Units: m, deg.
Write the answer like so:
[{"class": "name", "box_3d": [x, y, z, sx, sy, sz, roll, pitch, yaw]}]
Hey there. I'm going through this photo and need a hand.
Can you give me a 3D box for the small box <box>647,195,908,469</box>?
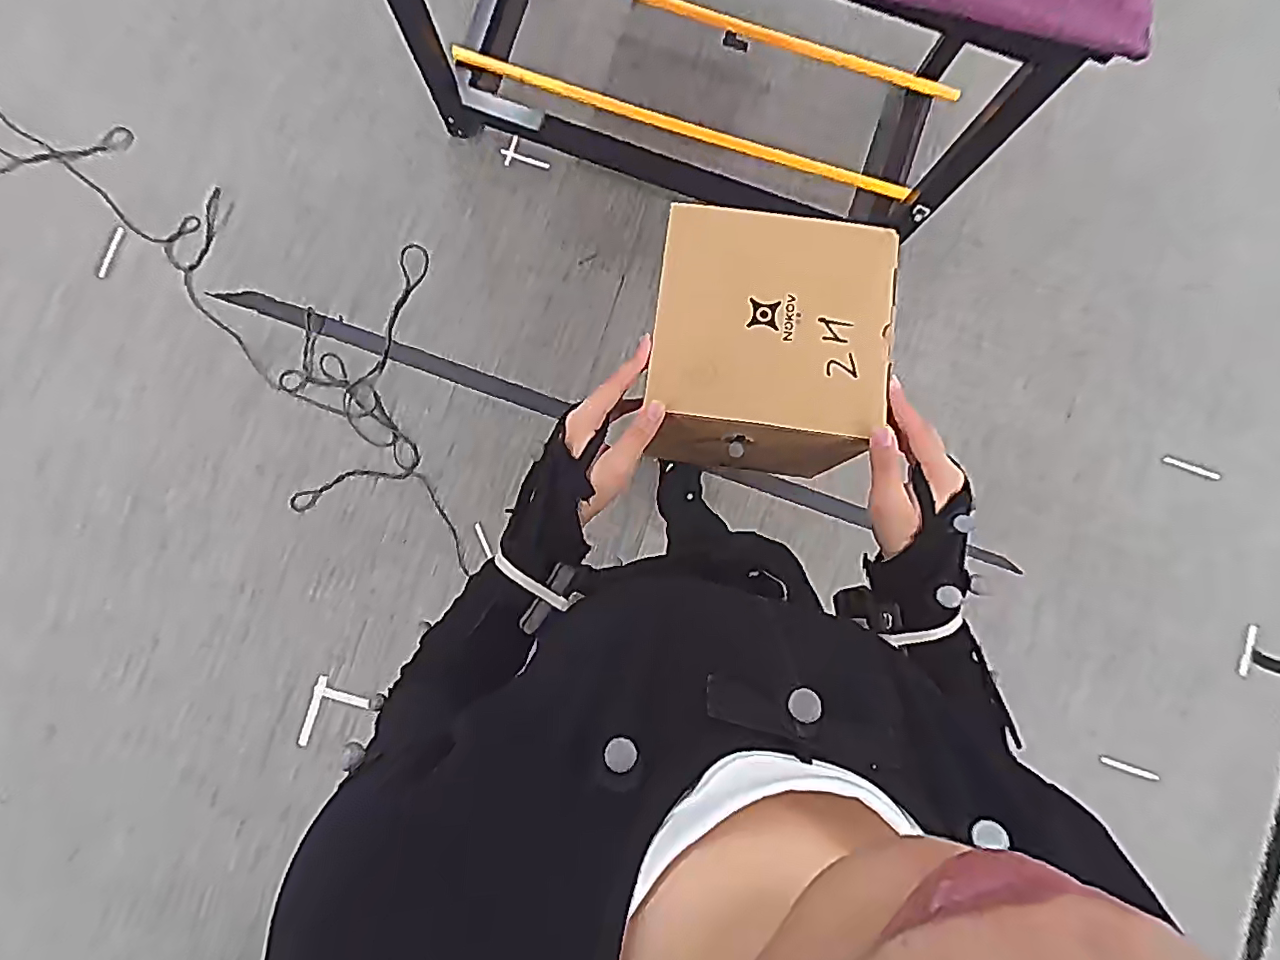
[{"class": "small box", "box_3d": [0.101, -0.110, 0.469, 0.179, 0.176, 0.168, 8, 82, 0]}]
